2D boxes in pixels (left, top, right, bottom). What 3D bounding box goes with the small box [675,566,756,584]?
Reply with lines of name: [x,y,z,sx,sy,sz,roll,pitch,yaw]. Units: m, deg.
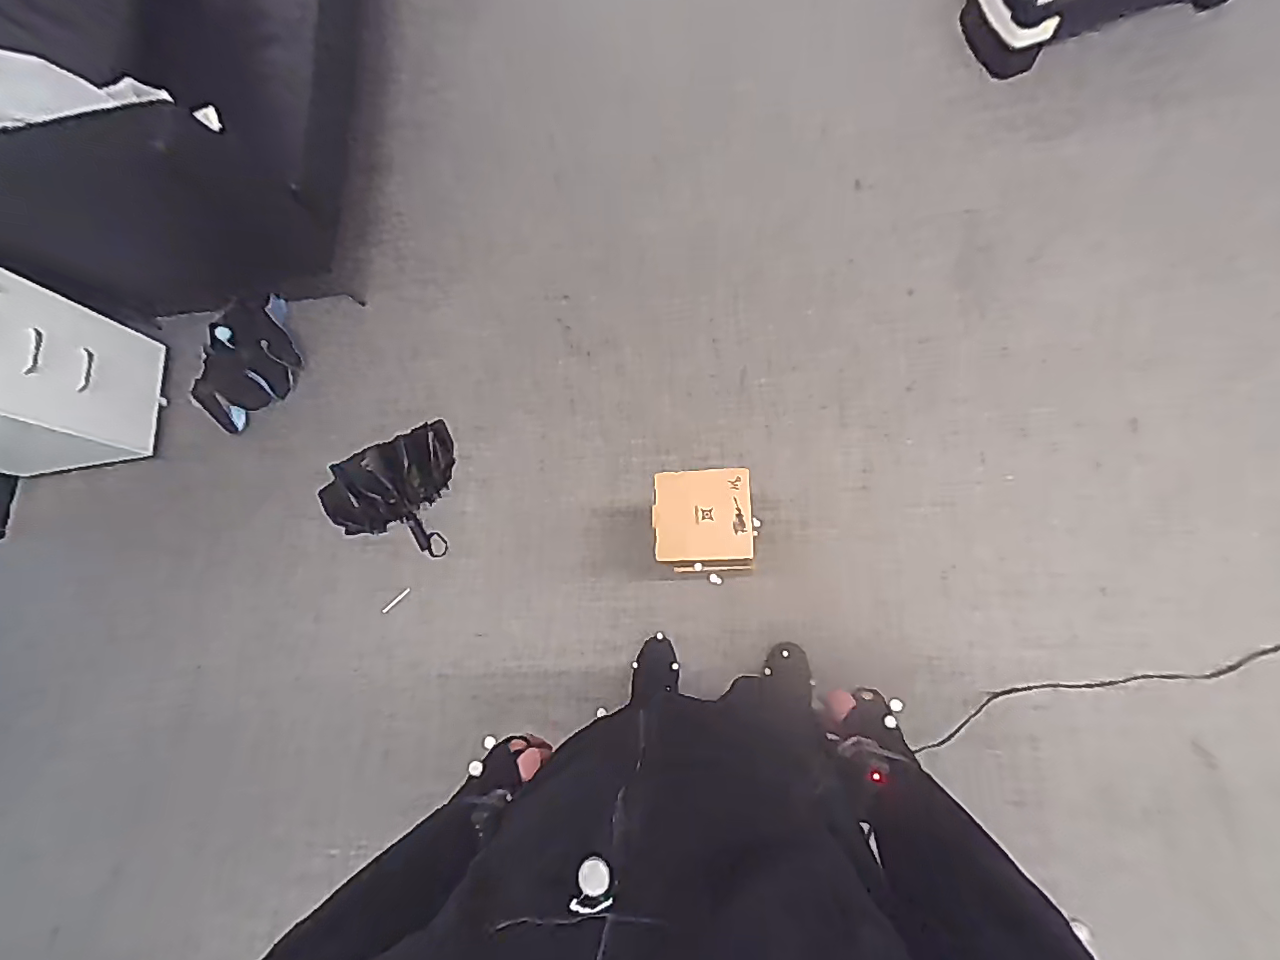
small box: [0.164,0.135,1.199,0.168,0.176,0.179,-5,76,10]

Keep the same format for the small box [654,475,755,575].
small box: [0.129,0.094,1.044,0.179,0.176,0.168,-4,76,11]
